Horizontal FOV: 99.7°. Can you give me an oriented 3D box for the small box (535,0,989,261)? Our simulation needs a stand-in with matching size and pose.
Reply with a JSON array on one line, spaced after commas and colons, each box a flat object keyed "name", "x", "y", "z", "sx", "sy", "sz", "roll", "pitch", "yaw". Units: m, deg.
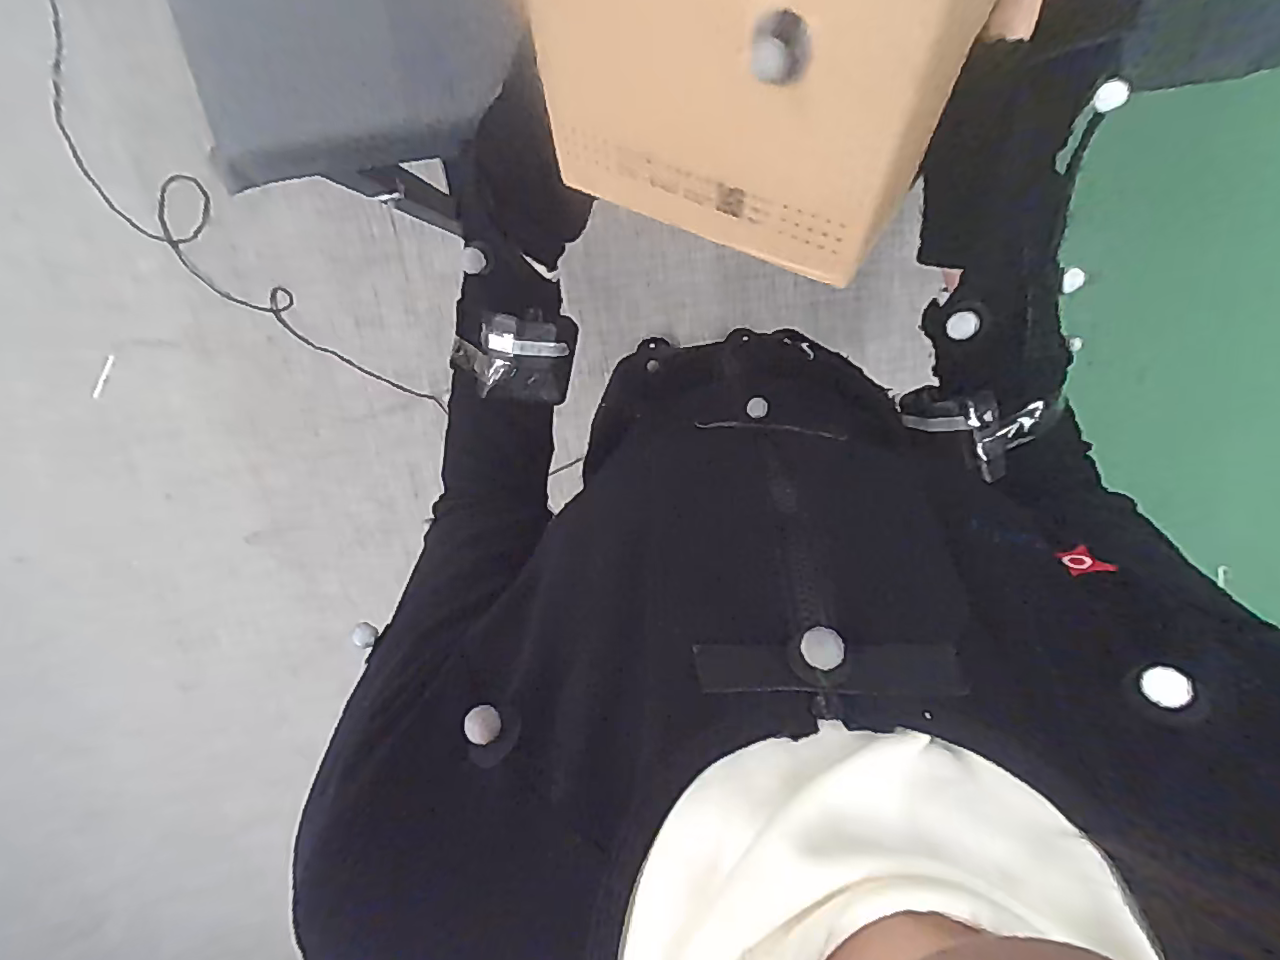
[{"name": "small box", "x": 0.064, "y": -0.233, "z": 0.237, "sx": 0.168, "sy": 0.176, "sz": 0.179, "roll": 28, "pitch": 67, "yaw": 15}]
